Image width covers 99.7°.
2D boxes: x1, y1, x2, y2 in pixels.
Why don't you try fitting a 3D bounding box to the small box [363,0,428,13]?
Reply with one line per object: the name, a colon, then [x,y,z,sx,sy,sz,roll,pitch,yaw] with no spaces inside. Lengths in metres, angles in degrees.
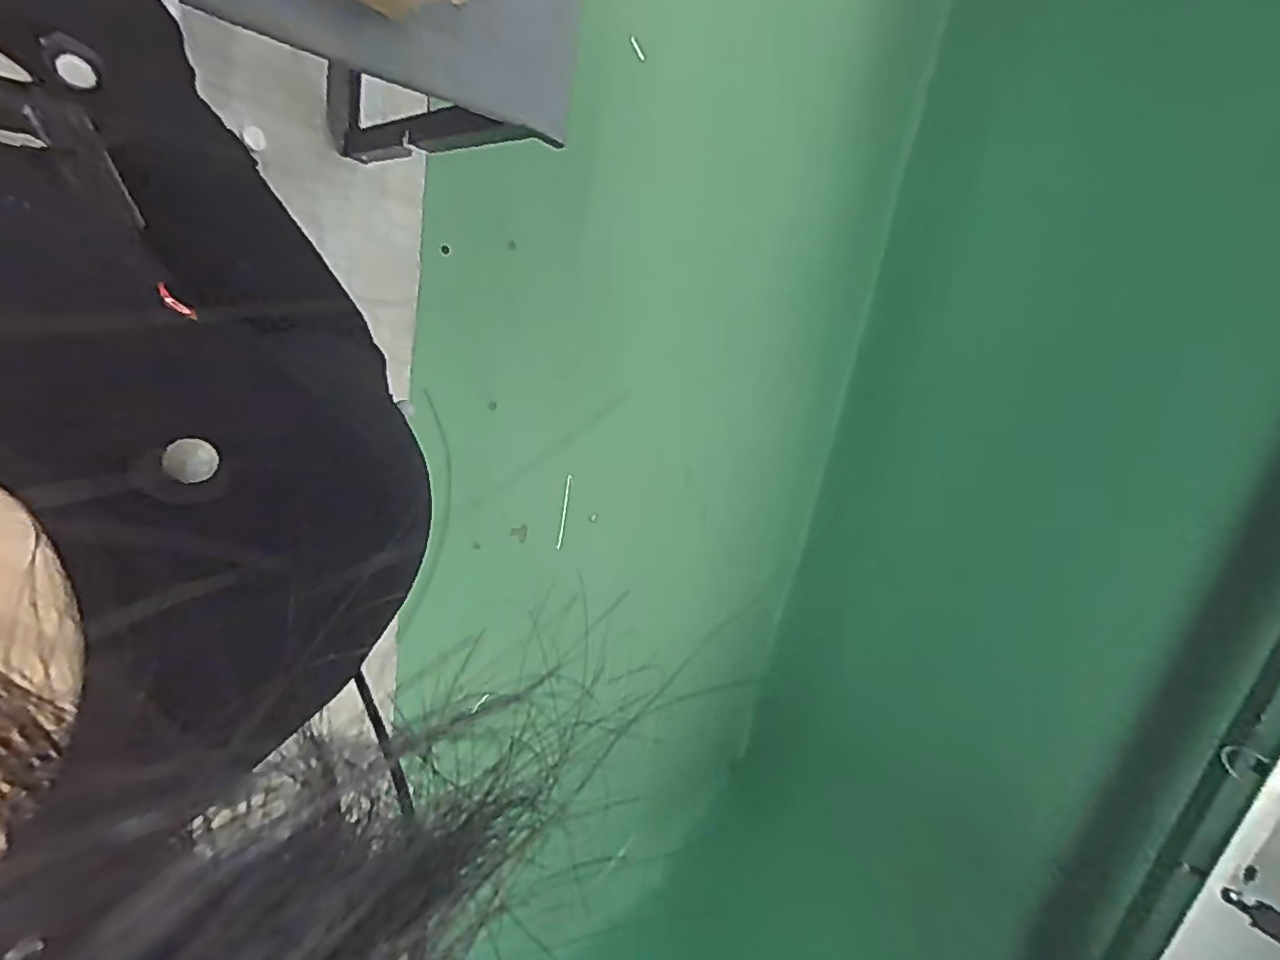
small box: [-0.268,-0.606,0.516,0.168,0.176,0.179,-5,111,-48]
